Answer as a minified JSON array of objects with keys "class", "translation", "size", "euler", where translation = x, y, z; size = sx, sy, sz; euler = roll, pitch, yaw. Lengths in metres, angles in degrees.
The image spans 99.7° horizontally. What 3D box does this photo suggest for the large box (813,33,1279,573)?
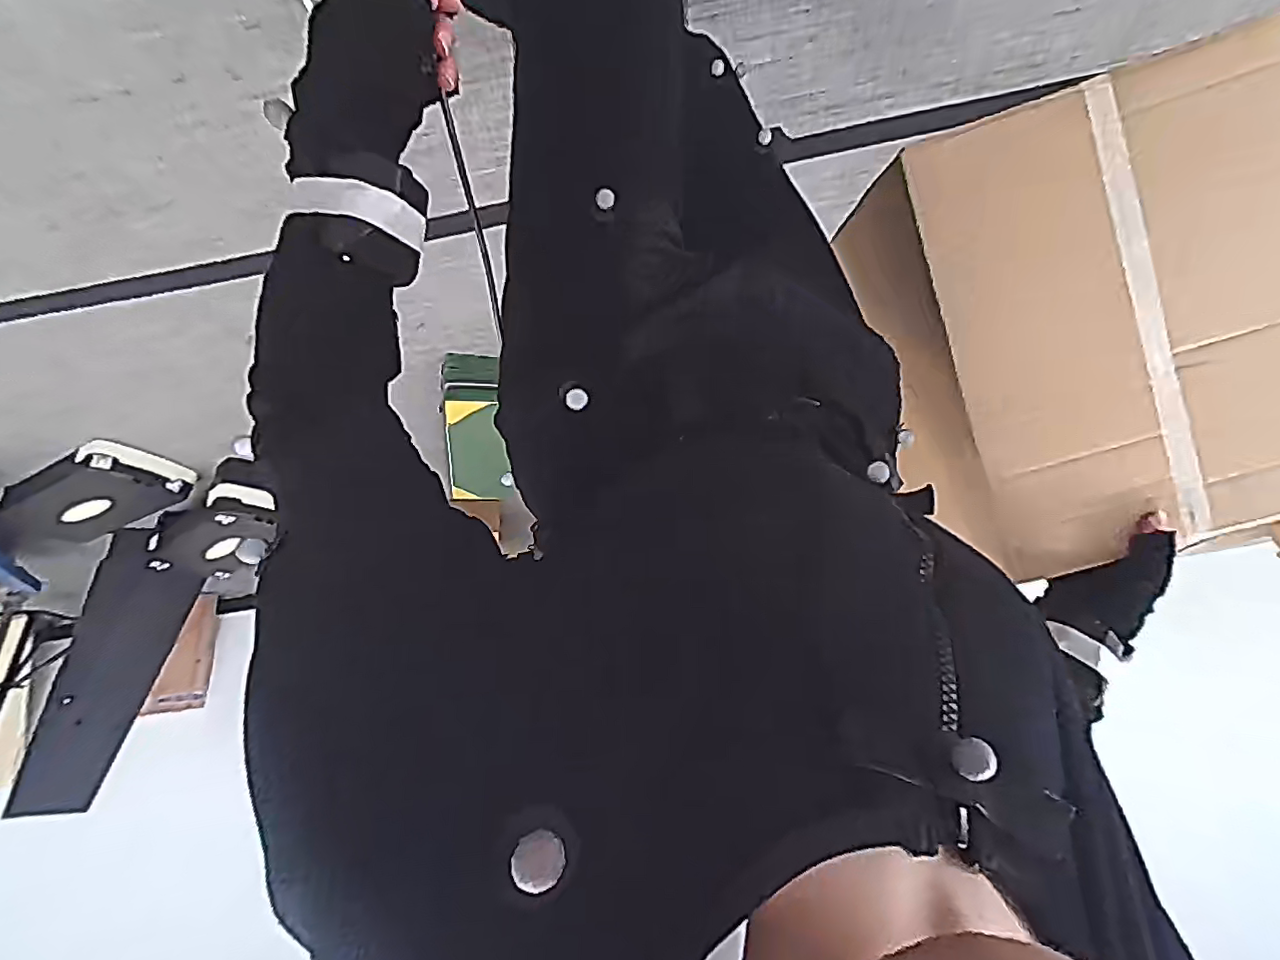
[{"class":"large box","translation":[0.432,-0.158,0.624],"size":[0.320,0.408,0.320],"euler":[-16,-175,8]}]
